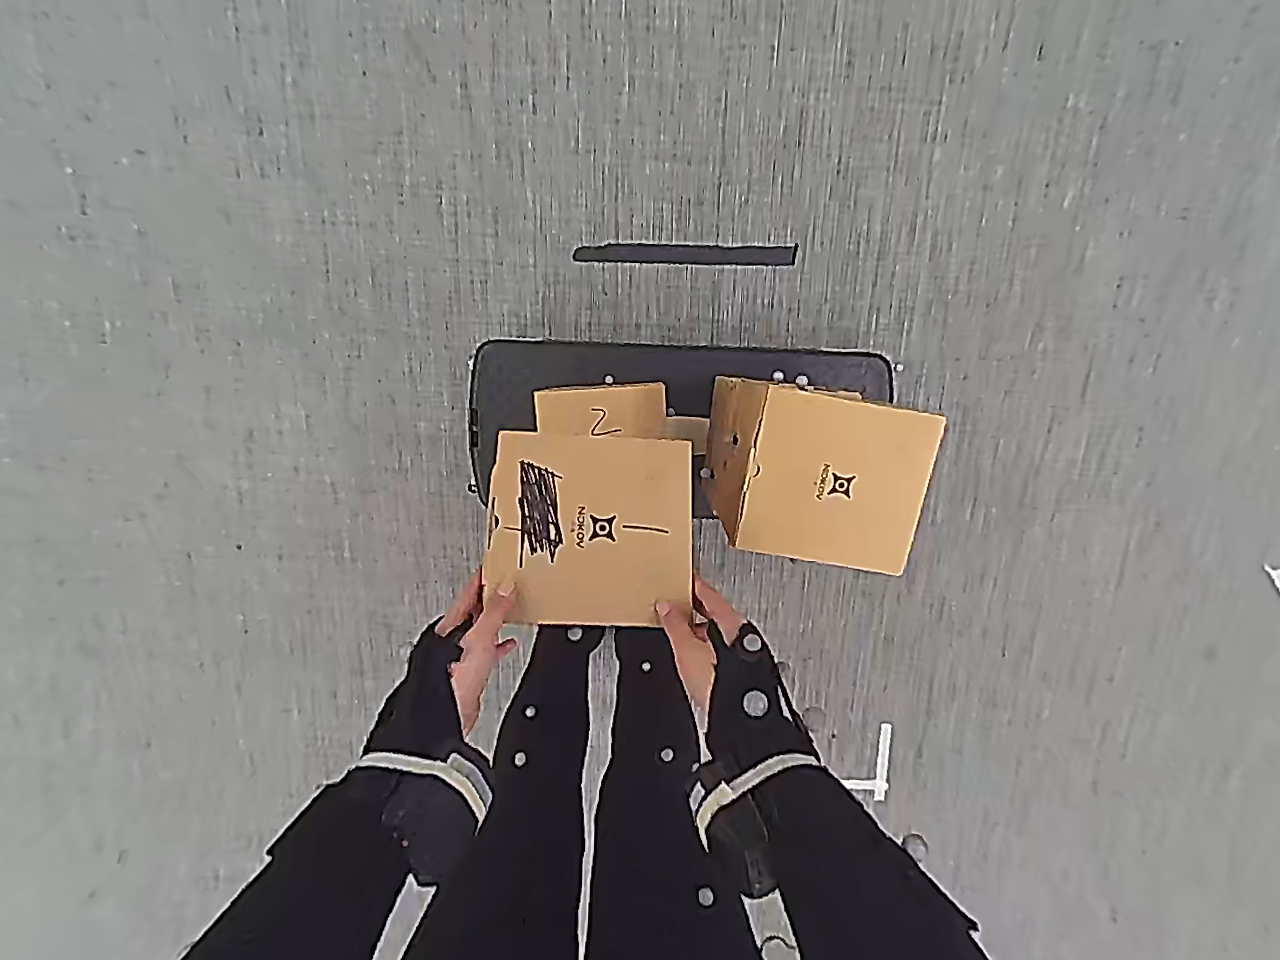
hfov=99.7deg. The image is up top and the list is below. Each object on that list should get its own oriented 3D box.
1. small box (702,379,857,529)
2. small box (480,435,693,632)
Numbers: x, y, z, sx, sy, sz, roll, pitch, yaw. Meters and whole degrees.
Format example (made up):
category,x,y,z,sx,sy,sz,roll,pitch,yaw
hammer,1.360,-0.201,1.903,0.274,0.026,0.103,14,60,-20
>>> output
category,x,y,z,sx,sy,sz,roll,pitch,yaw
small box,0.182,-0.045,0.764,0.168,0.176,0.179,6,101,0
small box,-0.047,0.063,0.540,0.179,0.176,0.168,3,75,-4
